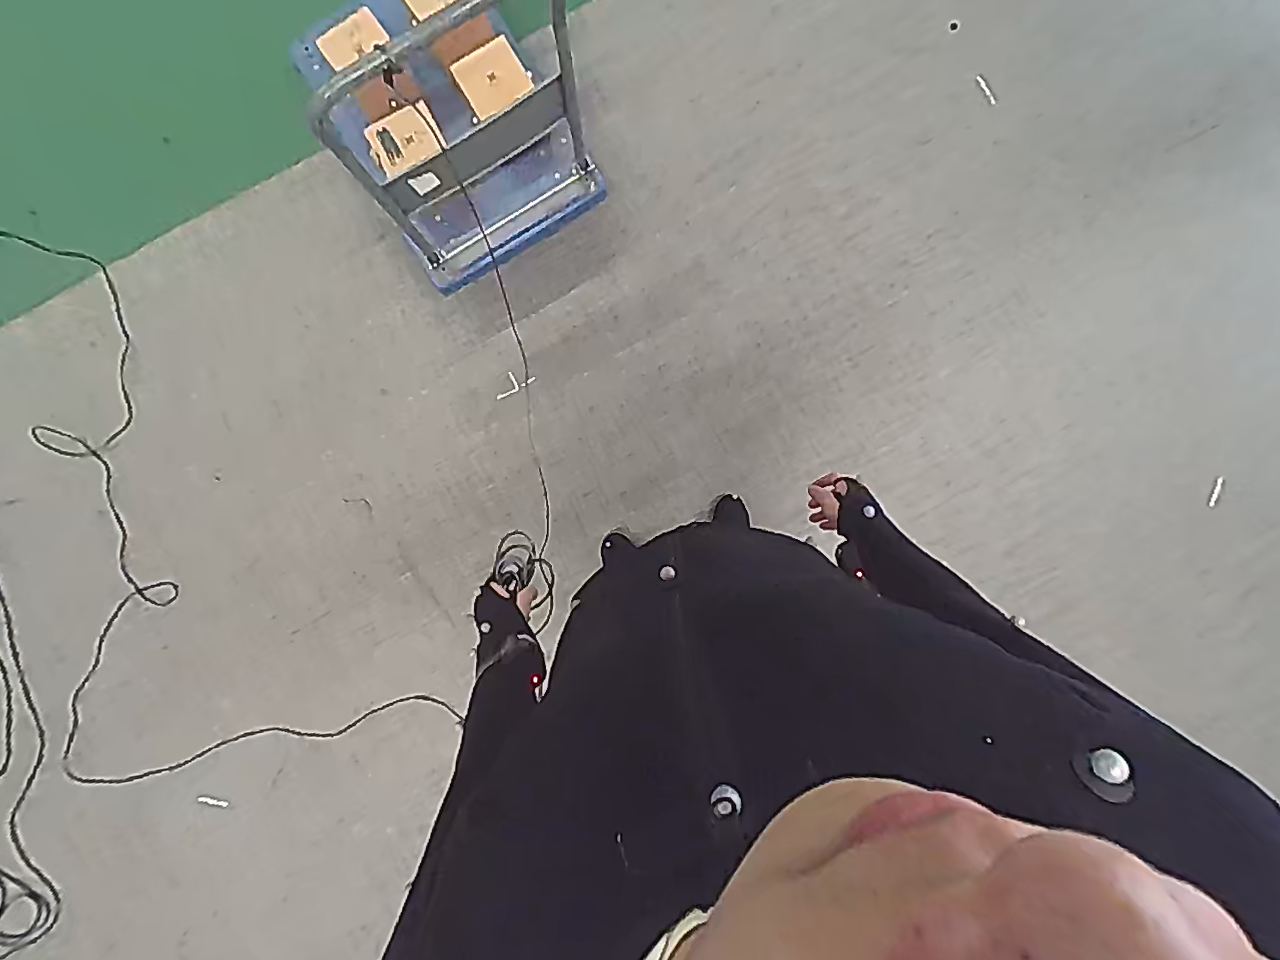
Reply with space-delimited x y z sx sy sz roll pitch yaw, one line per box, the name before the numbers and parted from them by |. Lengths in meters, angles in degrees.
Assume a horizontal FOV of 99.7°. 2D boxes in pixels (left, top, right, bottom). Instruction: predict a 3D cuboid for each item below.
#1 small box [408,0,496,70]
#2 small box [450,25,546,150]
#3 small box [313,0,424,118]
small box | -0.511 -1.268 1.454 0.168 0.176 0.179 -35 89 1
small box | -0.371 -1.037 1.444 0.168 0.176 0.179 -30 89 0
small box | -0.717 -1.121 1.452 0.168 0.176 0.179 -35 88 -1
